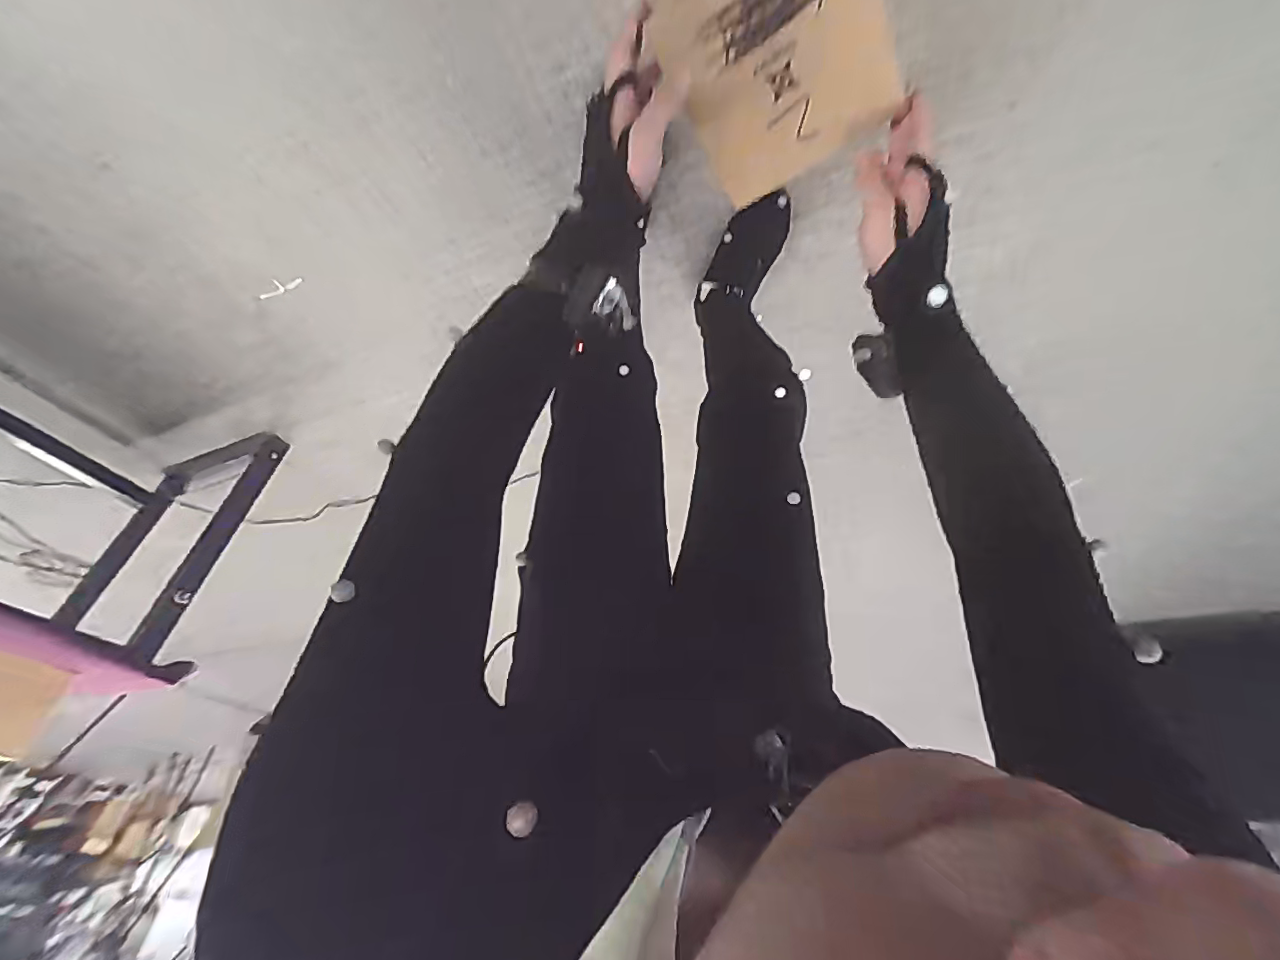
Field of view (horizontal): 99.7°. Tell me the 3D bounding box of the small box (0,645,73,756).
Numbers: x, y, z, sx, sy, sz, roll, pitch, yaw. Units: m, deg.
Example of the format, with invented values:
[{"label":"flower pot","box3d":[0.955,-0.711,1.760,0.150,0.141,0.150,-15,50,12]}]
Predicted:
[{"label":"small box","box3d":[-1.290,0.423,1.052,0.168,0.176,0.179,-11,137,21]}]
